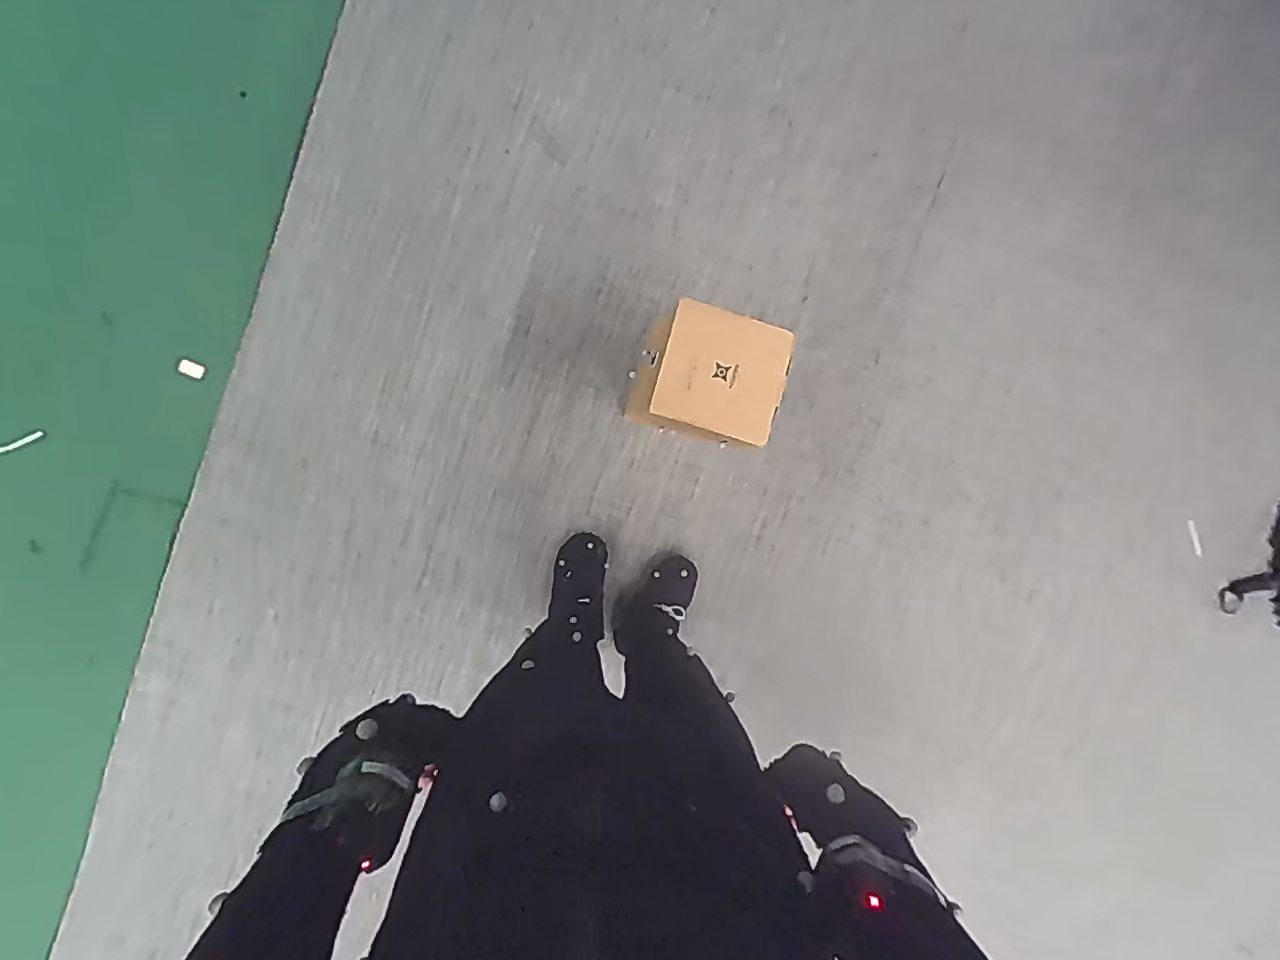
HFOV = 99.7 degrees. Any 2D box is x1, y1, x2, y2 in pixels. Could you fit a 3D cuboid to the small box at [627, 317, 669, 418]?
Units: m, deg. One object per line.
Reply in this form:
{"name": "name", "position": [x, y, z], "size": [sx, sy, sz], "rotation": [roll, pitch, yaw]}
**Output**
{"name": "small box", "position": [0.084, -0.179, 0.989], "size": [0.179, 0.176, 0.168], "rotation": [15, 92, -7]}

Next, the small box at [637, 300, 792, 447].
{"name": "small box", "position": [0.103, -0.152, 0.828], "size": [0.179, 0.176, 0.168], "rotation": [15, 91, -5]}
